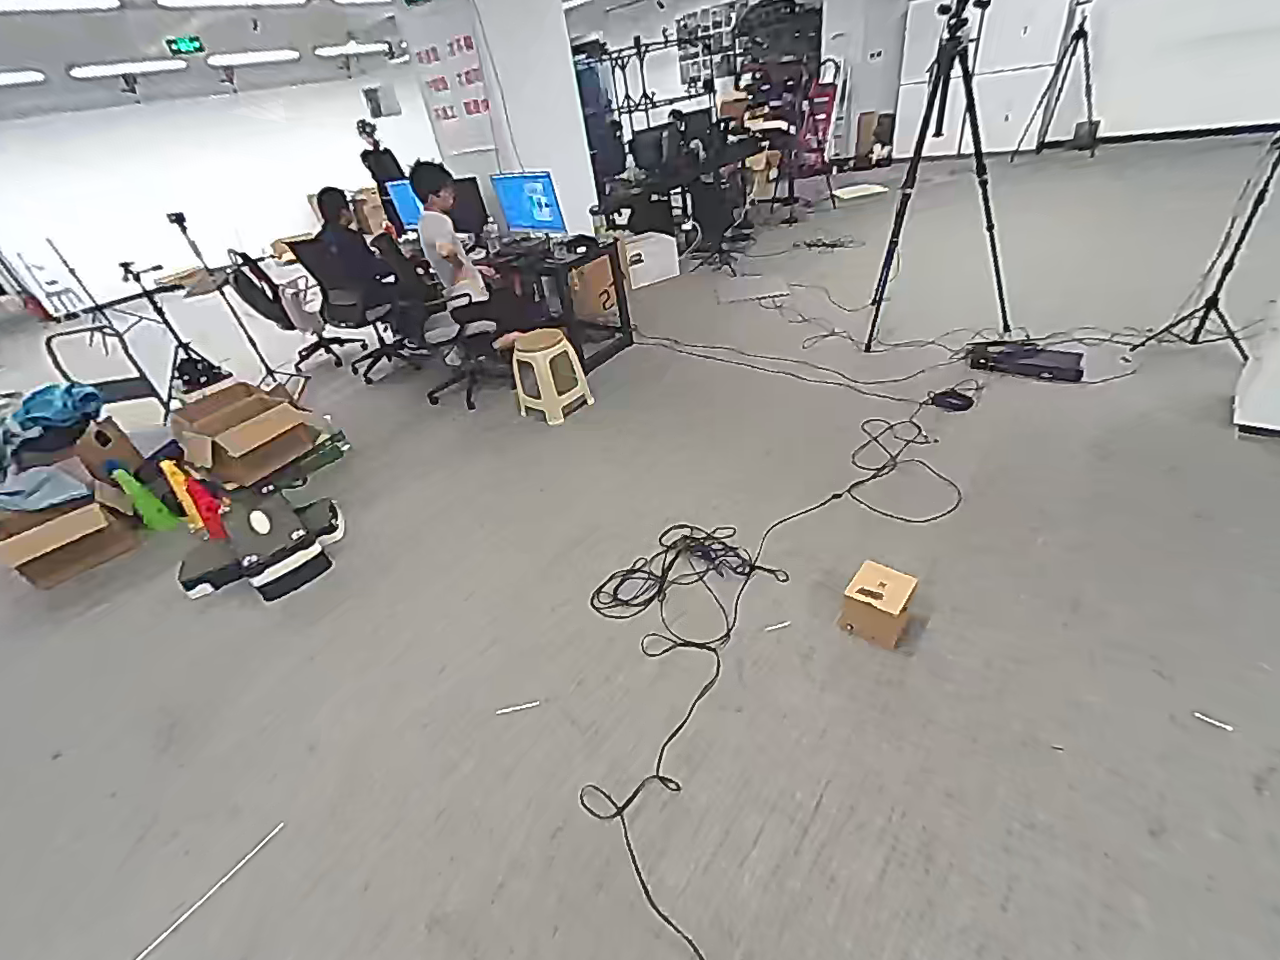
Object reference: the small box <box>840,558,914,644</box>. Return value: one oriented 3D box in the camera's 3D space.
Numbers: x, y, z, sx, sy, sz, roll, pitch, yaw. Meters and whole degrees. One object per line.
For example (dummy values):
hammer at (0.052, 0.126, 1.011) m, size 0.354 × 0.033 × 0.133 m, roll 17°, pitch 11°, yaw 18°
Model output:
small box at (0.755, 0.390, 1.733) m, size 0.168 × 0.176 × 0.179 m, roll 21°, pitch 46°, yaw 37°
